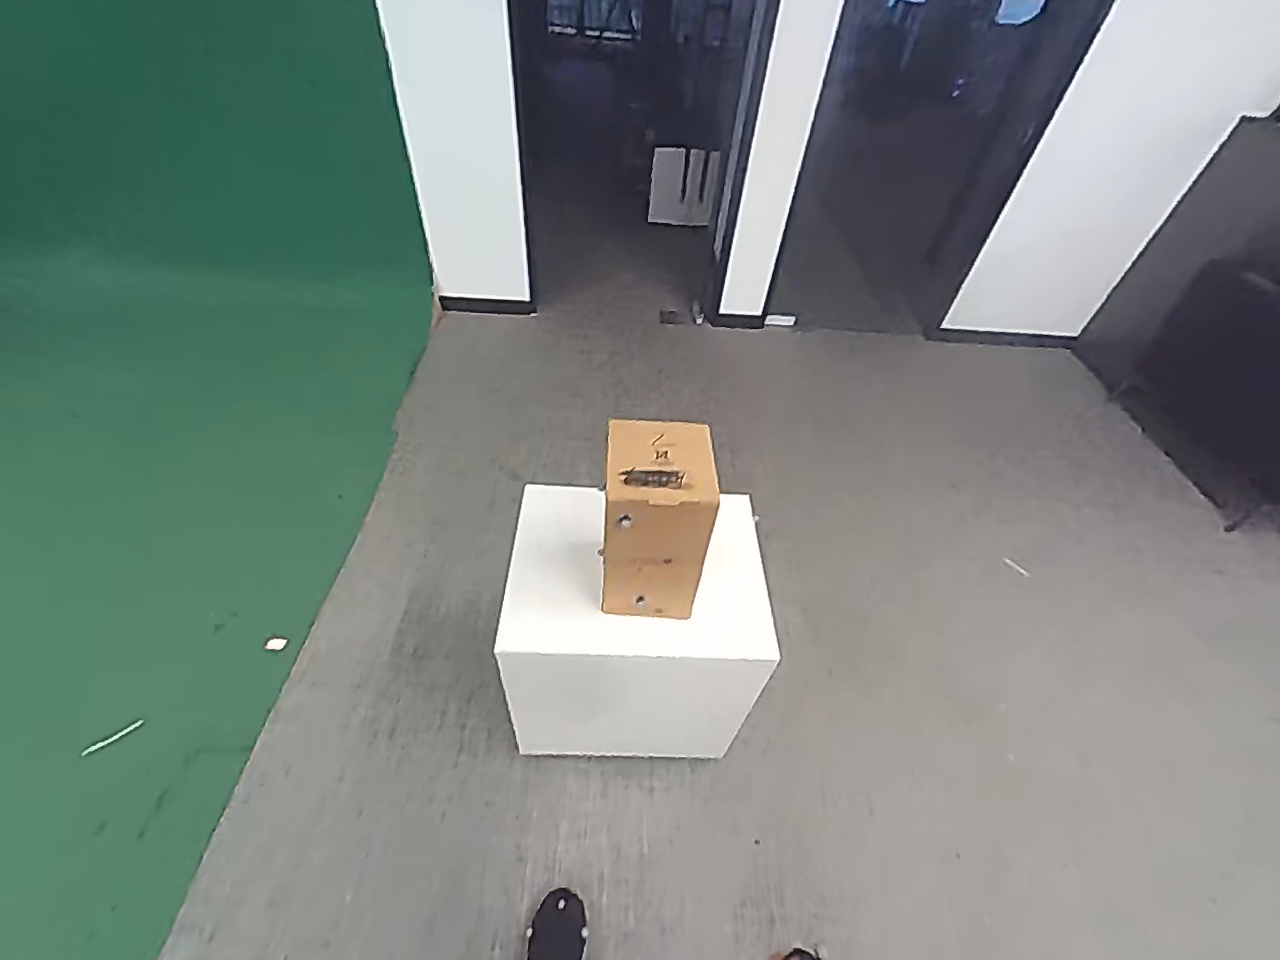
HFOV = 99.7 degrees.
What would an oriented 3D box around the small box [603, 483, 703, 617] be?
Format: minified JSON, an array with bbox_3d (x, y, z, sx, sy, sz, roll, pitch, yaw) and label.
[{"bbox_3d":[0.019,0.130,1.003,0.168,0.176,0.179,4,46,-2],"label":"small box"}]
